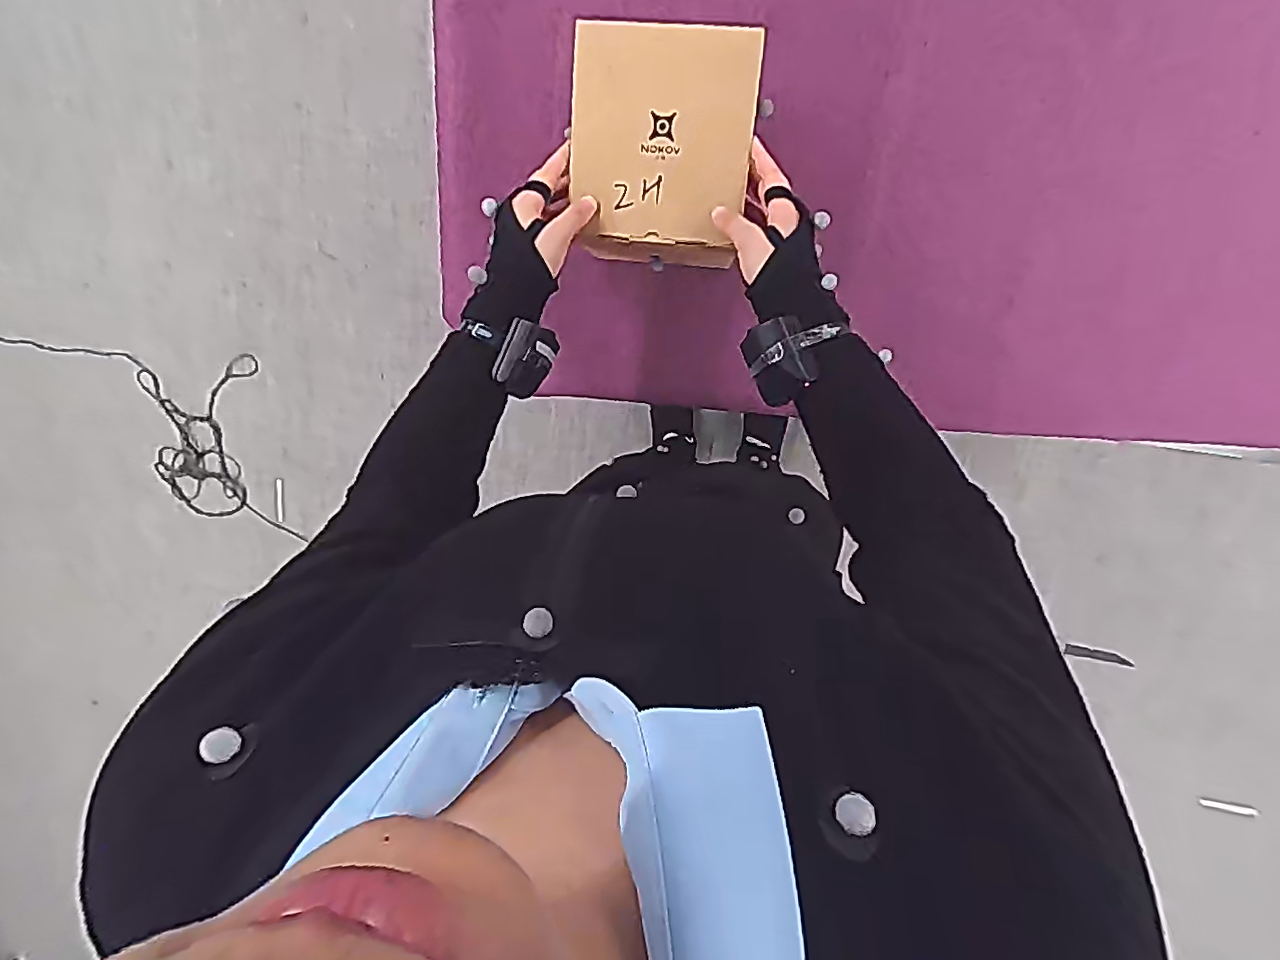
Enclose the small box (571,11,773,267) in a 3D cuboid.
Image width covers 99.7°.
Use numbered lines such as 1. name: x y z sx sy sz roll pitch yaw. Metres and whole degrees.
1. small box: 0.030 -0.328 0.555 0.168 0.176 0.179 6 106 4
